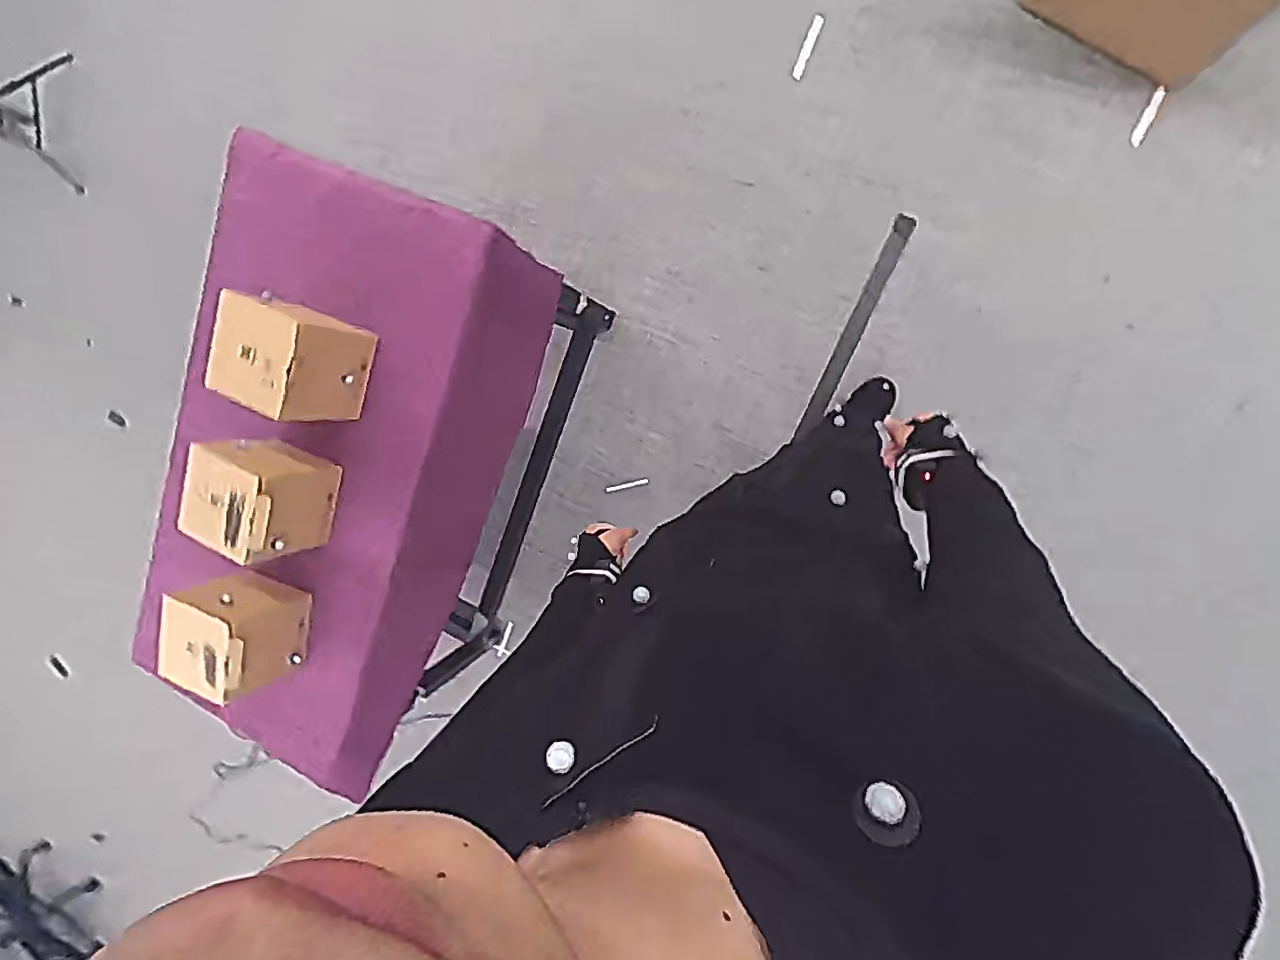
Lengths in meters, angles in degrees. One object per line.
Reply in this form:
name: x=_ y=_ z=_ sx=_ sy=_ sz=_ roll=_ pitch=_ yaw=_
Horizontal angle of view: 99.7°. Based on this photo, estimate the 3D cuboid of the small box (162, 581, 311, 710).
small box: x=-0.789 y=0.314 z=1.068 sx=0.179 sy=0.176 sz=0.168 roll=14 pitch=100 yaw=15

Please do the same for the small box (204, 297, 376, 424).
small box: x=-0.612 y=-0.203 z=0.956 sx=0.179 sy=0.176 sz=0.168 roll=22 pitch=103 yaw=12
